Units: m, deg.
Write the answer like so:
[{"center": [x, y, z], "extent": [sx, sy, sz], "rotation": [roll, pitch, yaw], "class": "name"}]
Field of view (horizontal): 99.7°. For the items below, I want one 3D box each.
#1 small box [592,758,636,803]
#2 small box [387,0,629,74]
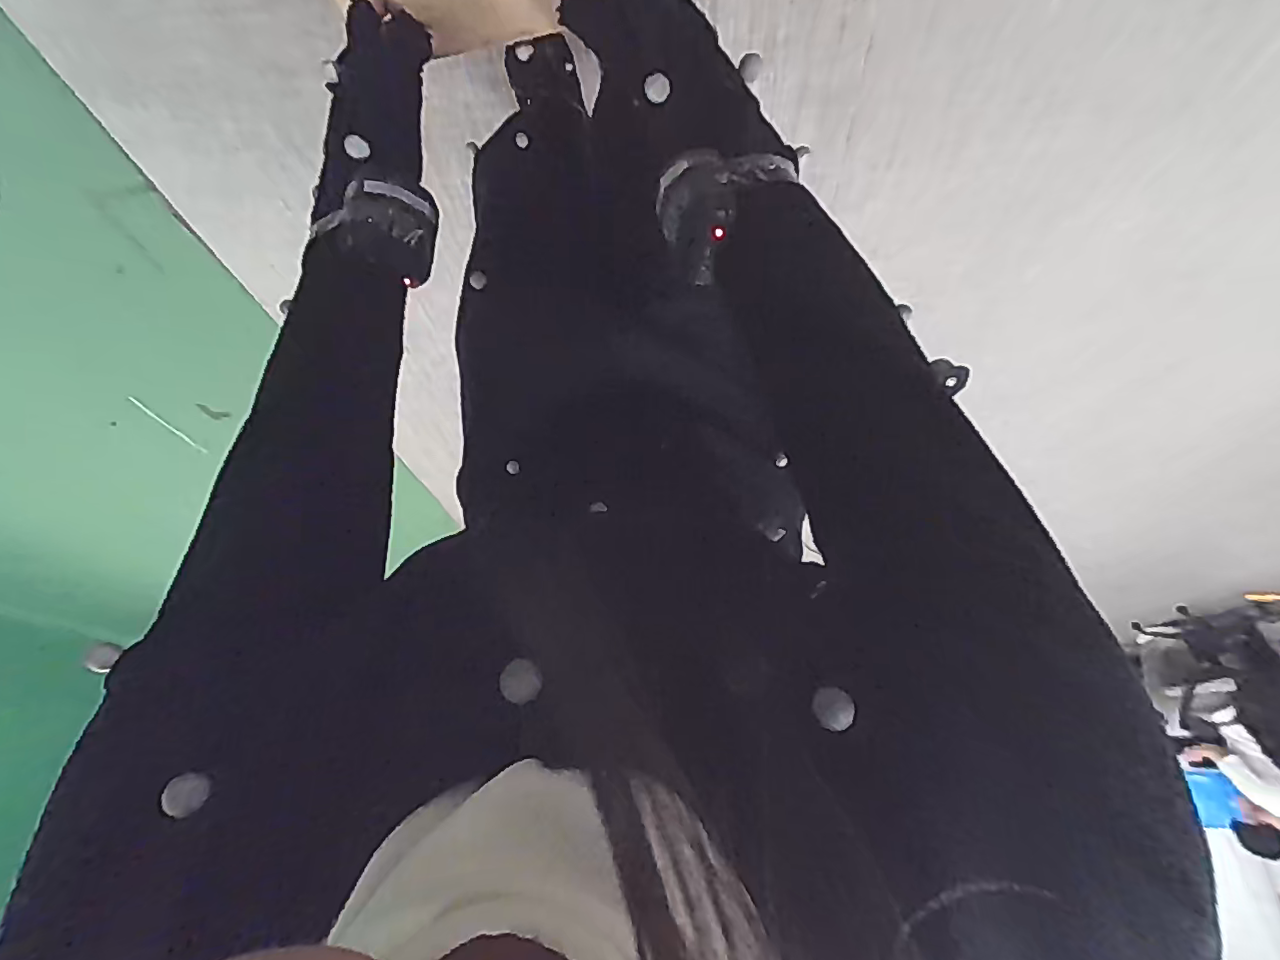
[{"center": [-0.111, 1.293, 2.330], "extent": [0.168, 0.176, 0.179], "rotation": [-3, 148, 7], "class": "small box"}, {"center": [-0.106, -0.444, 0.429], "extent": [0.179, 0.176, 0.168], "rotation": [-6, 128, 9], "class": "small box"}]
